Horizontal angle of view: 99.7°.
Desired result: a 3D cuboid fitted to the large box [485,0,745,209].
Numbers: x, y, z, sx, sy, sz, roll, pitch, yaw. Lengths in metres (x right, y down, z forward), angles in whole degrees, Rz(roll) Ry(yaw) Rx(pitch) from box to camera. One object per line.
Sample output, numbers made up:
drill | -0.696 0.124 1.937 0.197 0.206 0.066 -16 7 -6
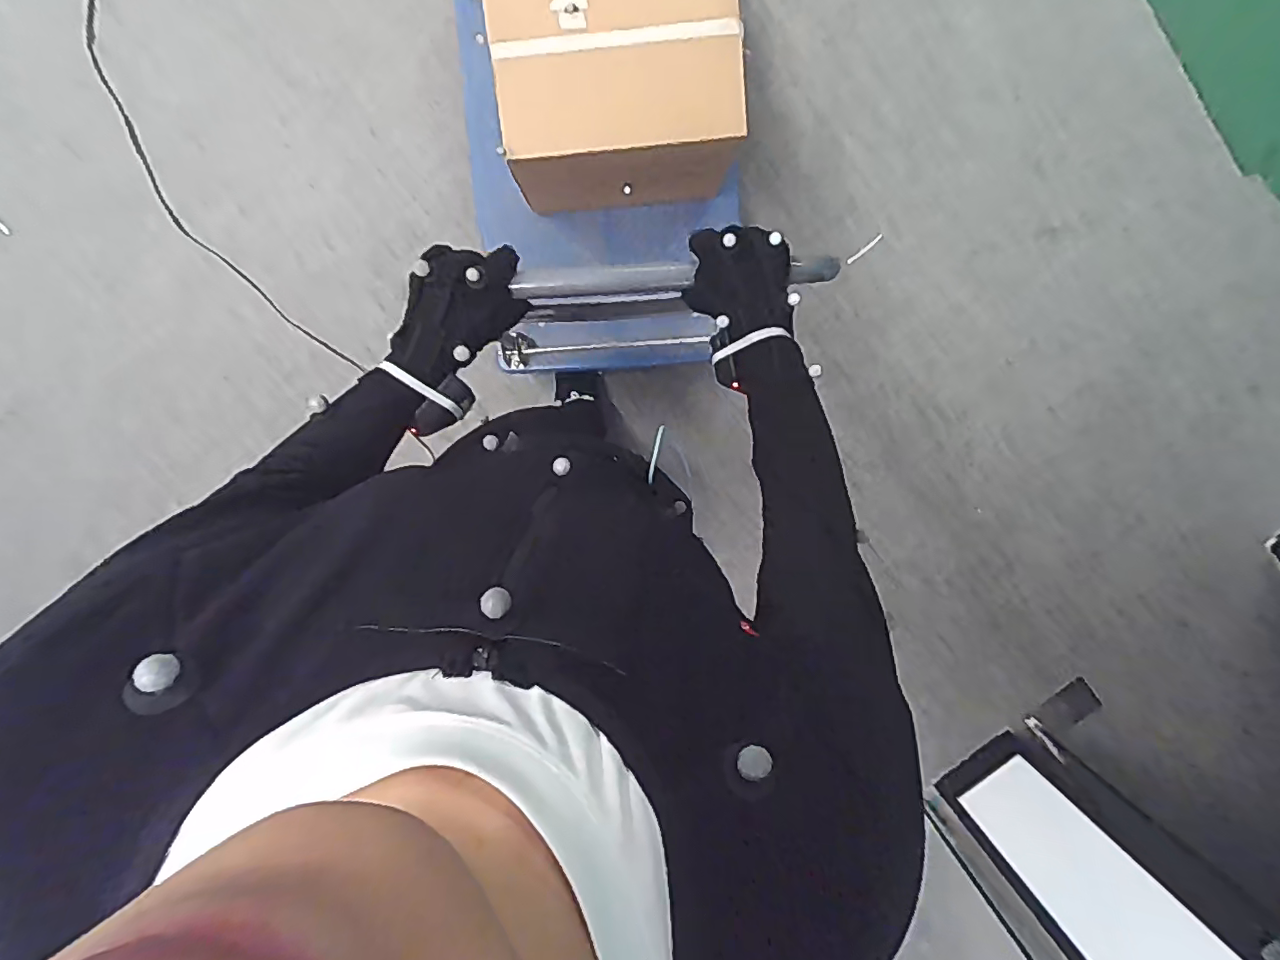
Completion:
large box | -0.042 -0.732 1.013 0.408 0.320 0.320 -6 101 0
